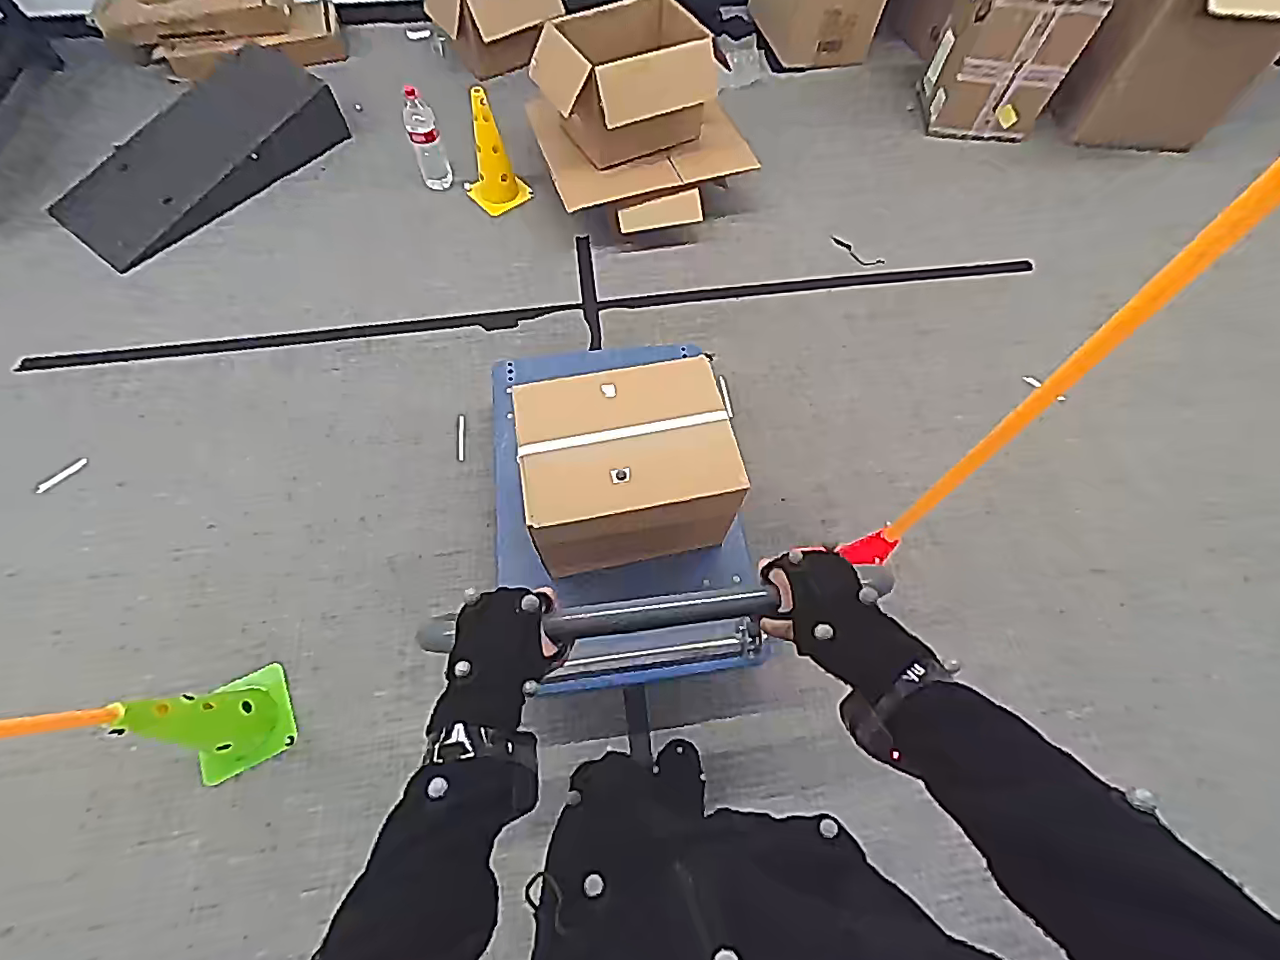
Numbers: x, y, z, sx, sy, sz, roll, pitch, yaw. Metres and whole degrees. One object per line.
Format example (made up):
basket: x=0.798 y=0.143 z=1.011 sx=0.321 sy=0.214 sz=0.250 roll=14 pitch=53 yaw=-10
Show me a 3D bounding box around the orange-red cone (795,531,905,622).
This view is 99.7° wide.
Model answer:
orange-red cone: x=0.510 y=0.193 z=1.241 sx=0.199 sy=0.360 sz=0.198 roll=0 pitch=65 yaw=-3
